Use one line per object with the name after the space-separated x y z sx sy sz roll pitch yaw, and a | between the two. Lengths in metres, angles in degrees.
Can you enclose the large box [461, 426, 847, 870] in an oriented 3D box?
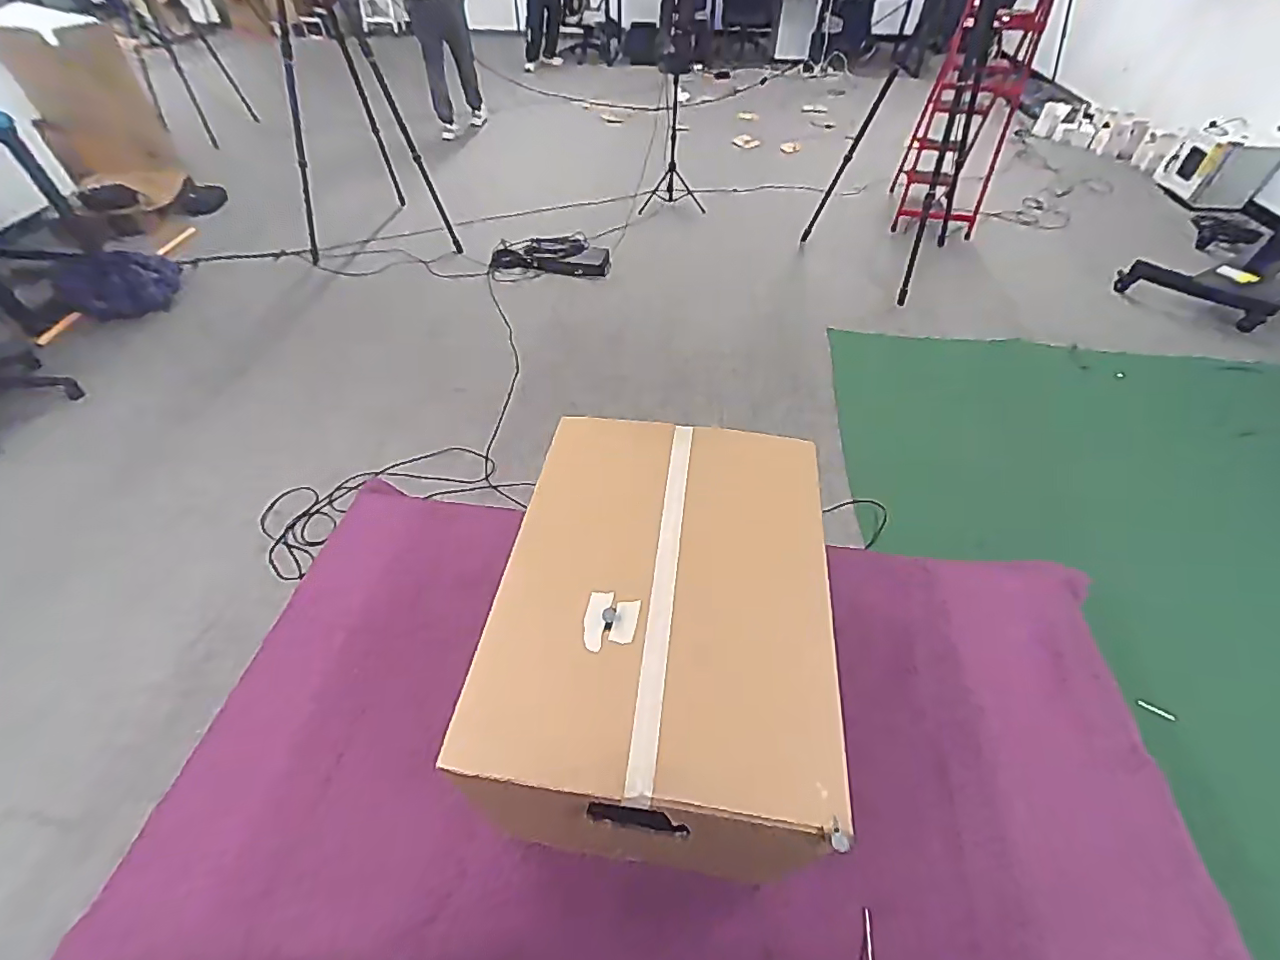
0.028 0.194 0.658 0.320 0.320 0.408 7 49 5 | large box
